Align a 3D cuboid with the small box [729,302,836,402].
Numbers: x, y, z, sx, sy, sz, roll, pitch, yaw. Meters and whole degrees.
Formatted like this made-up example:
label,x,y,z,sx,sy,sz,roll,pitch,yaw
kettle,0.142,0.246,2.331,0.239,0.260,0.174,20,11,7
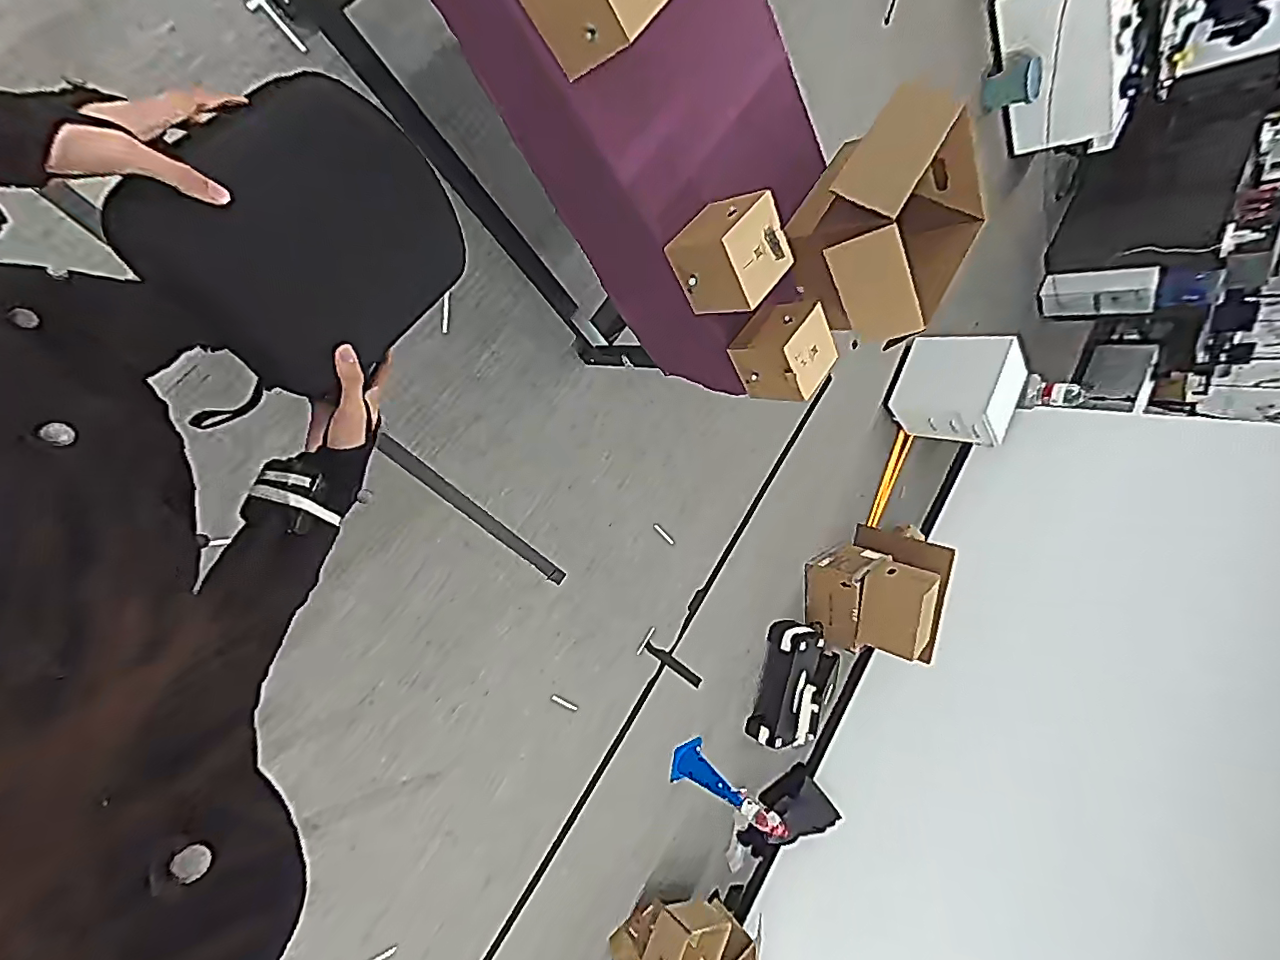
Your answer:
label,x,y,z,sx,sy,sz,roll,pitch,yaw
small box,0.349,-0.315,1.332,0.179,0.176,0.168,-51,127,-20
